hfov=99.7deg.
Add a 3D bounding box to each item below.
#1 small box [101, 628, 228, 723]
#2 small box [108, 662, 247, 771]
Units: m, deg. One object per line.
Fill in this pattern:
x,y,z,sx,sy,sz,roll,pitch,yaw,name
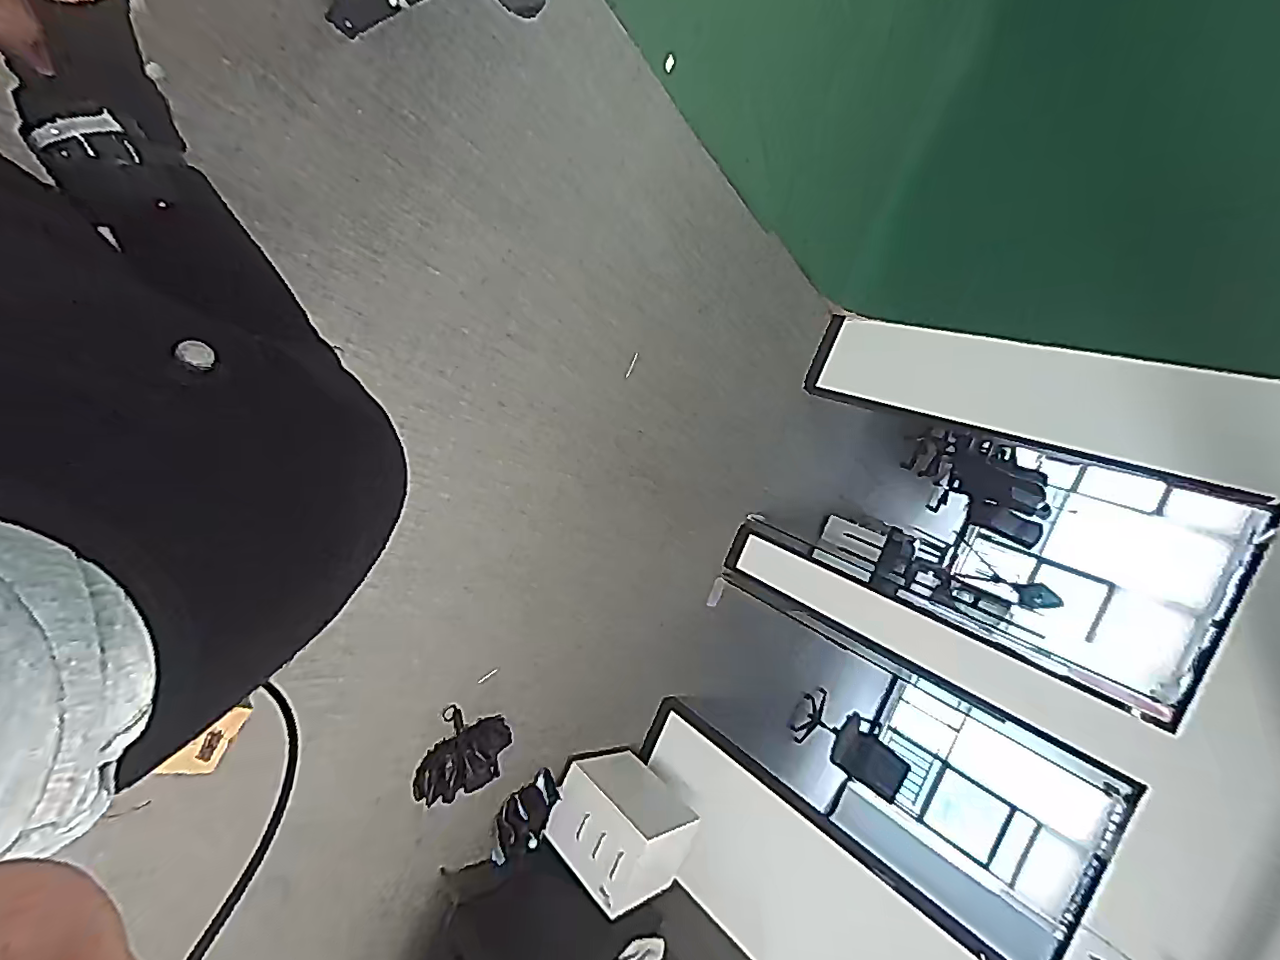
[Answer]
-1.183,0.488,1.345,0.179,0.176,0.168,38,78,-51,small box
-1.064,0.542,1.245,0.168,0.176,0.179,-61,142,-8,small box
